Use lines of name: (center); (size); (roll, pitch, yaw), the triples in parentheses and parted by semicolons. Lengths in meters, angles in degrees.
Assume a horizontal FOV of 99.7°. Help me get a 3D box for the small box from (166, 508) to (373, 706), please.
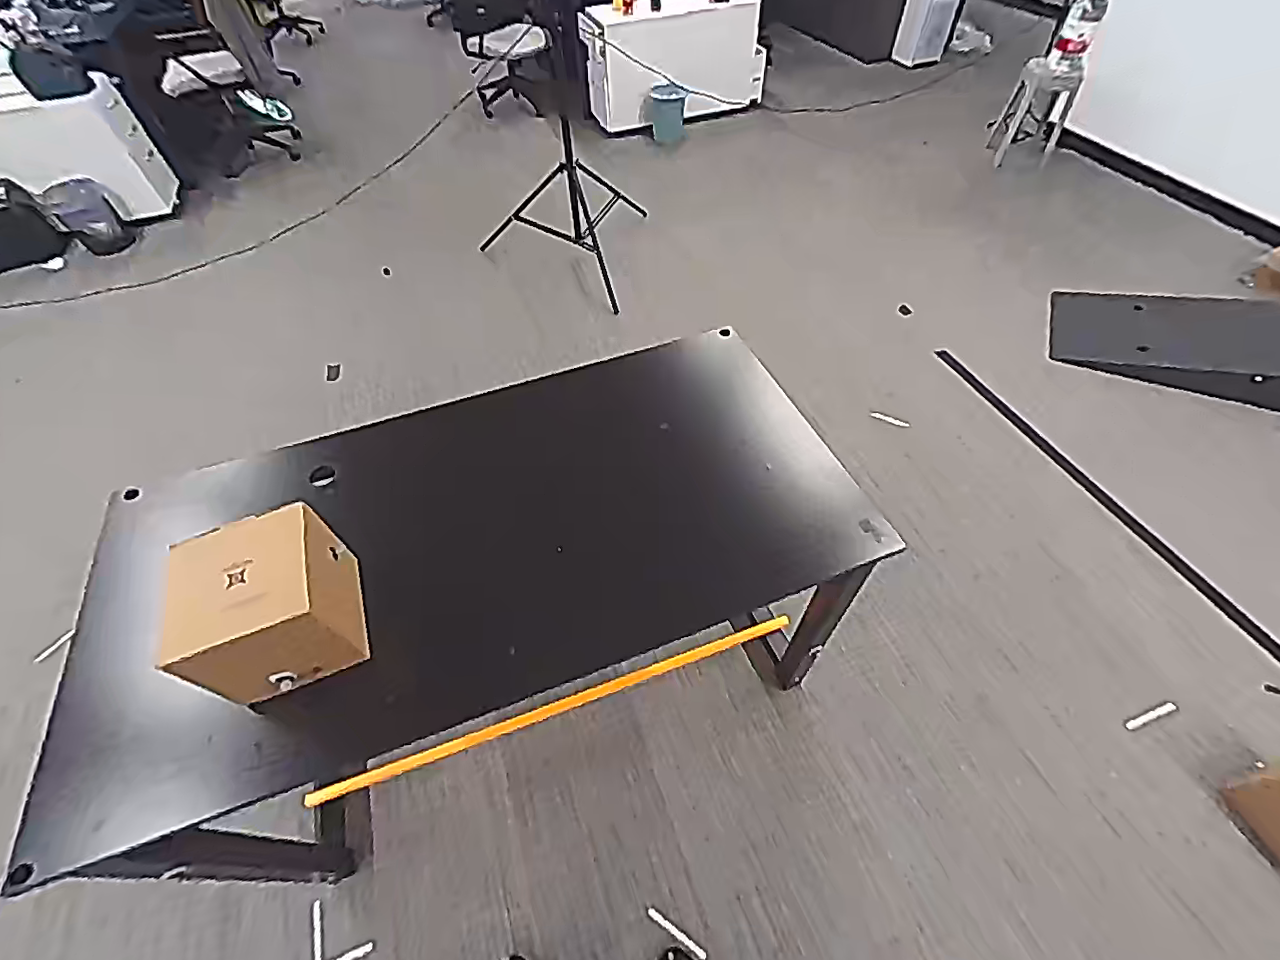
small box: (-0.487, 0.173, 0.733); (0.168, 0.176, 0.179); (-21, 55, -12)

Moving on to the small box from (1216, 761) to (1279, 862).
small box: (1.430, 0.709, 1.155); (0.168, 0.176, 0.179); (-16, 53, -10)
